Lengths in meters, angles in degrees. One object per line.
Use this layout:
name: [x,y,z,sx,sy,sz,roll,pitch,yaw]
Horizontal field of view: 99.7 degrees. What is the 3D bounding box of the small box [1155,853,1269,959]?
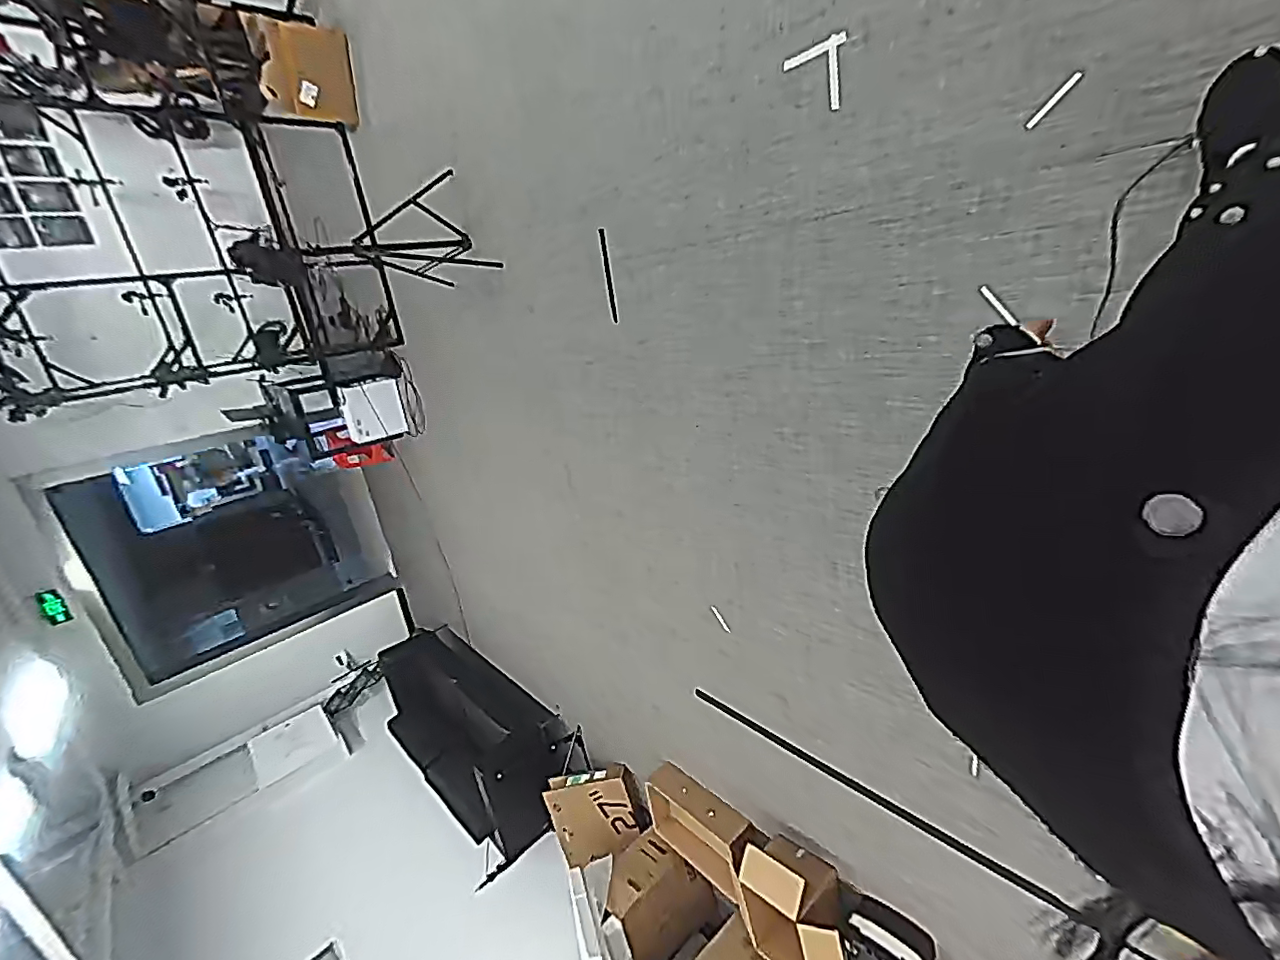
small box: [1.285,1.004,1.216,0.168,0.176,0.179,4,111,48]
